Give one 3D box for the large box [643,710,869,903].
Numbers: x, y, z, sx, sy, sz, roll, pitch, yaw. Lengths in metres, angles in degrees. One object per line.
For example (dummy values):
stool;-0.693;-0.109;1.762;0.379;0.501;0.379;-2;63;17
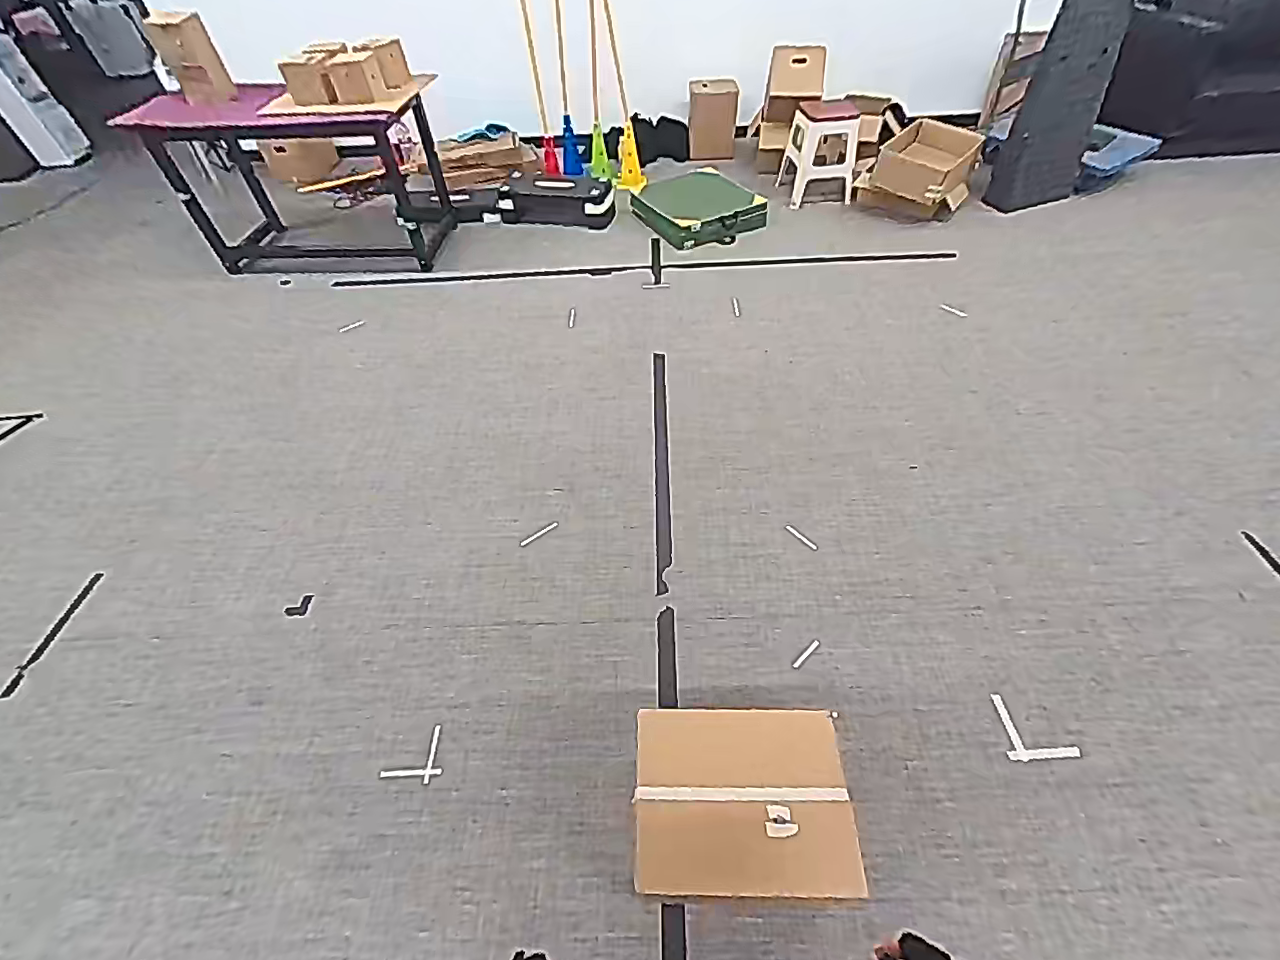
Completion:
large box;0.210;0.702;1.157;0.408;0.320;0.320;0;51;2
